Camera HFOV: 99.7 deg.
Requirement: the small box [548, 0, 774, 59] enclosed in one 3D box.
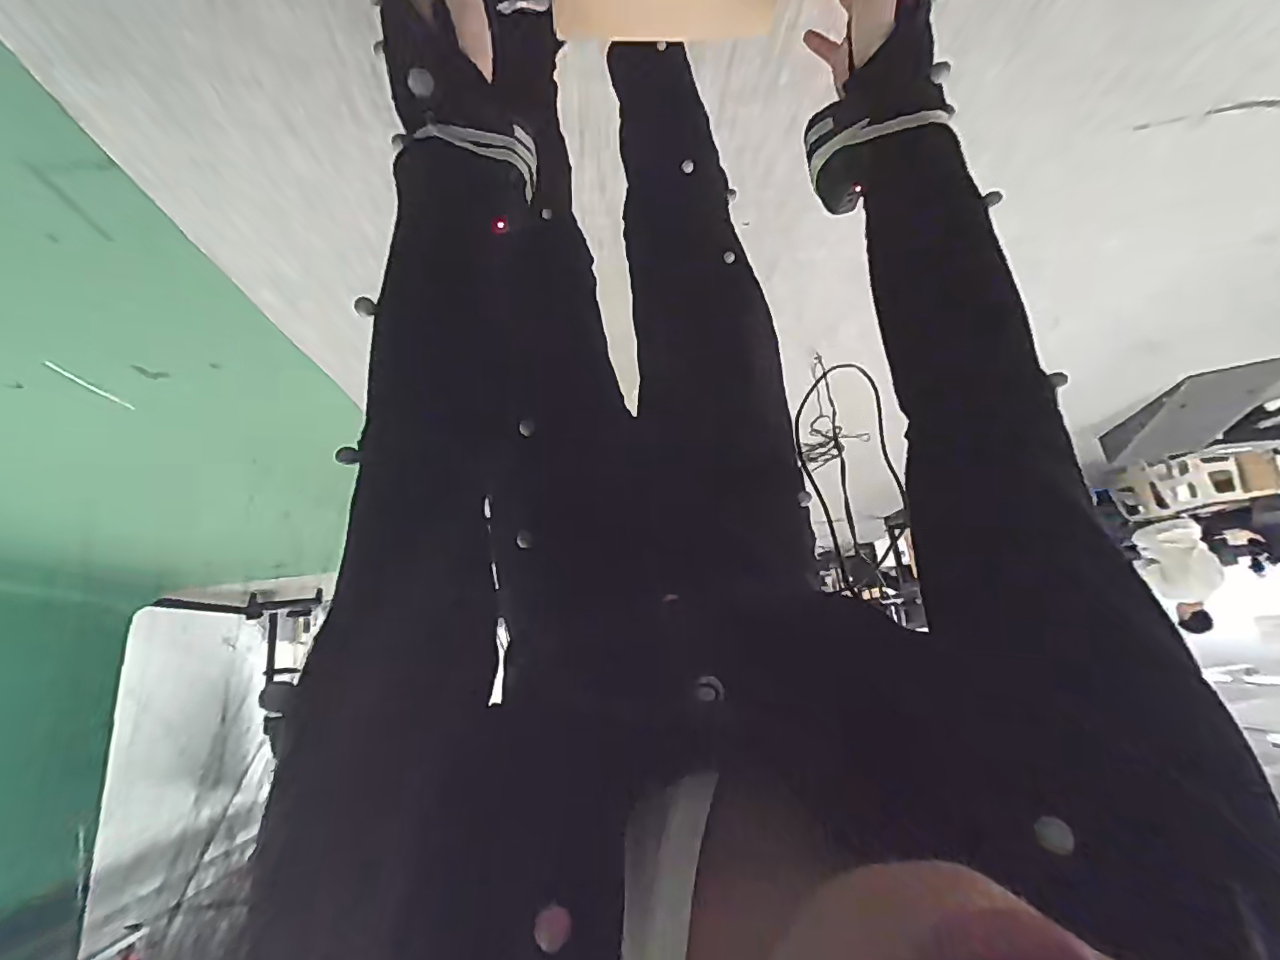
[{"bbox_3d":[0.015,-0.435,0.366,0.168,0.176,0.179,-4,163,-6],"label":"small box"}]
